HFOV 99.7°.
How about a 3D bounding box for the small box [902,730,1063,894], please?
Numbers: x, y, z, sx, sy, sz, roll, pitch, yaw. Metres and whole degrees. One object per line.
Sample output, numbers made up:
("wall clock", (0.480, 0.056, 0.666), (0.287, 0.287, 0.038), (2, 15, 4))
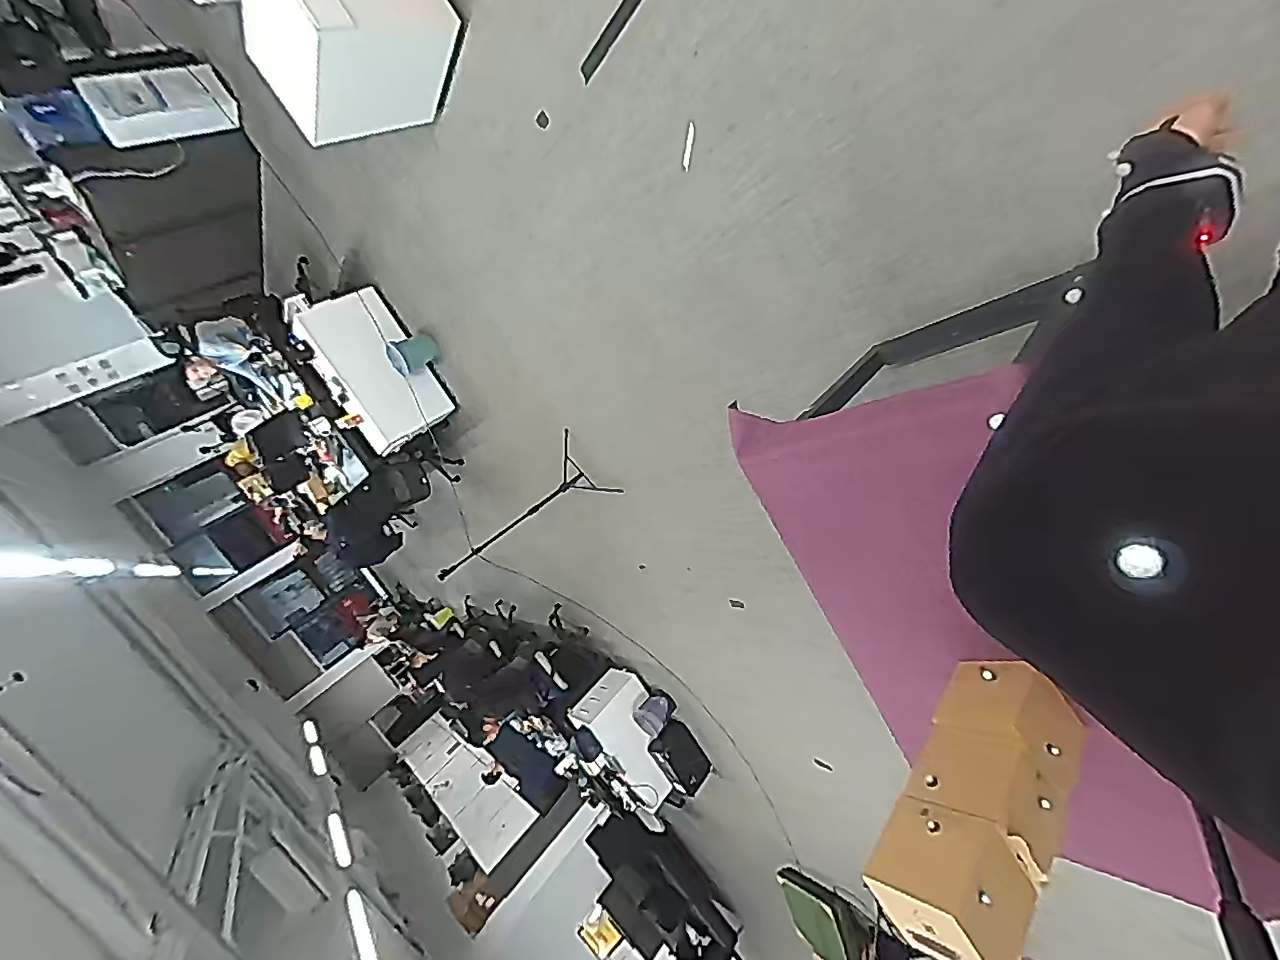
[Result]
("small box", (0.629, 0.592, 0.994), (0.168, 0.176, 0.179), (55, 147, -8))

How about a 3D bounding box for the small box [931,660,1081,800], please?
("small box", (0.728, 0.485, 1.072), (0.179, 0.176, 0.168), (53, 147, -3))
